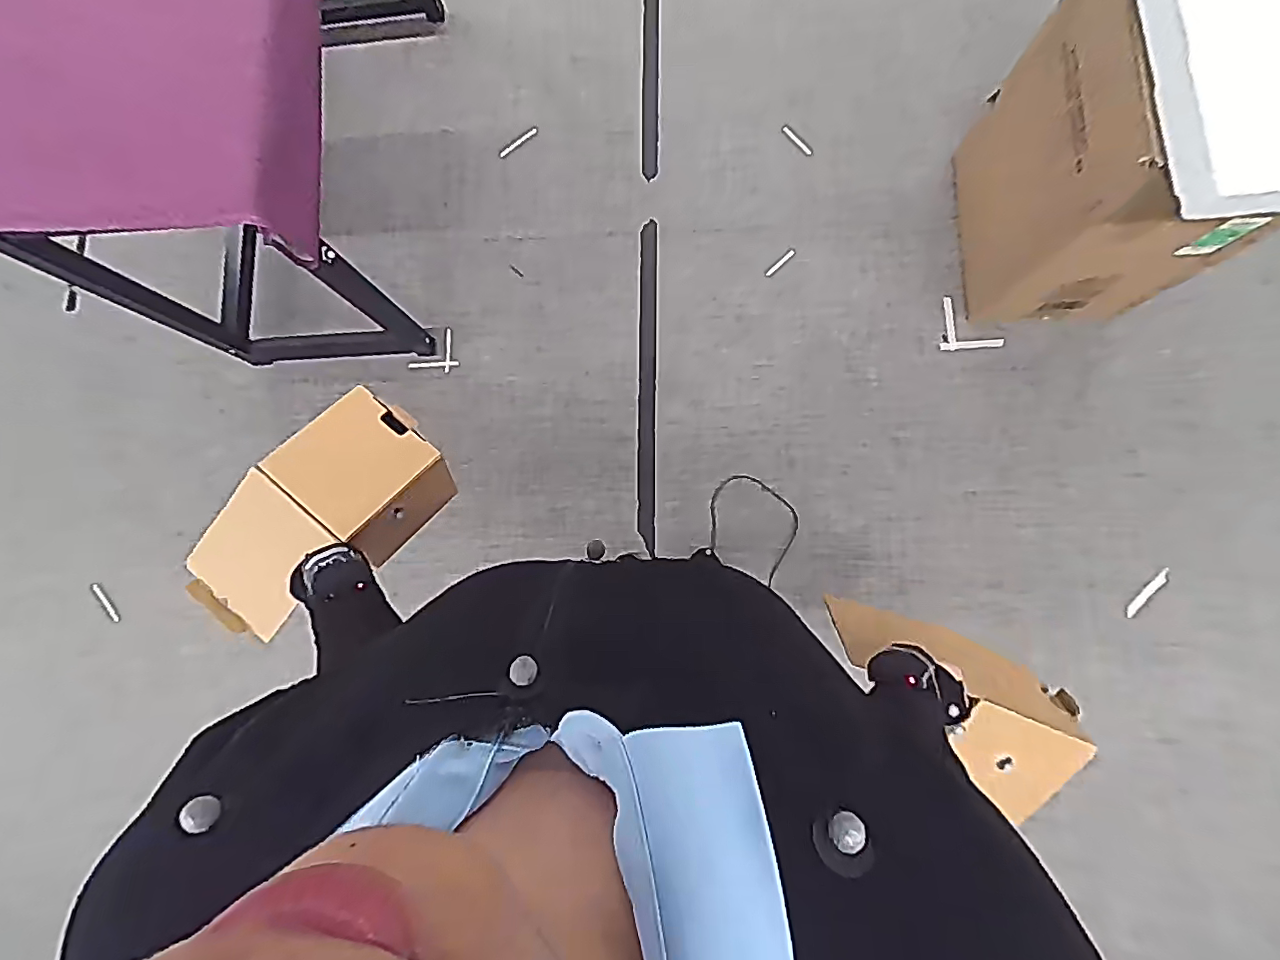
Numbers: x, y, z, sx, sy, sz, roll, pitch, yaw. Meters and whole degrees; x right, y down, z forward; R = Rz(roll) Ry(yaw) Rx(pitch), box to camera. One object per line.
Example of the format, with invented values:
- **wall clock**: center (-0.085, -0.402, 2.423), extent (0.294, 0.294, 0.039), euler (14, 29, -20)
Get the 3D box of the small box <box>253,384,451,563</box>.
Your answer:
- **small box**: center (-0.406, 0.000, 0.801), extent (0.168, 0.176, 0.179), euler (40, 68, 5)
